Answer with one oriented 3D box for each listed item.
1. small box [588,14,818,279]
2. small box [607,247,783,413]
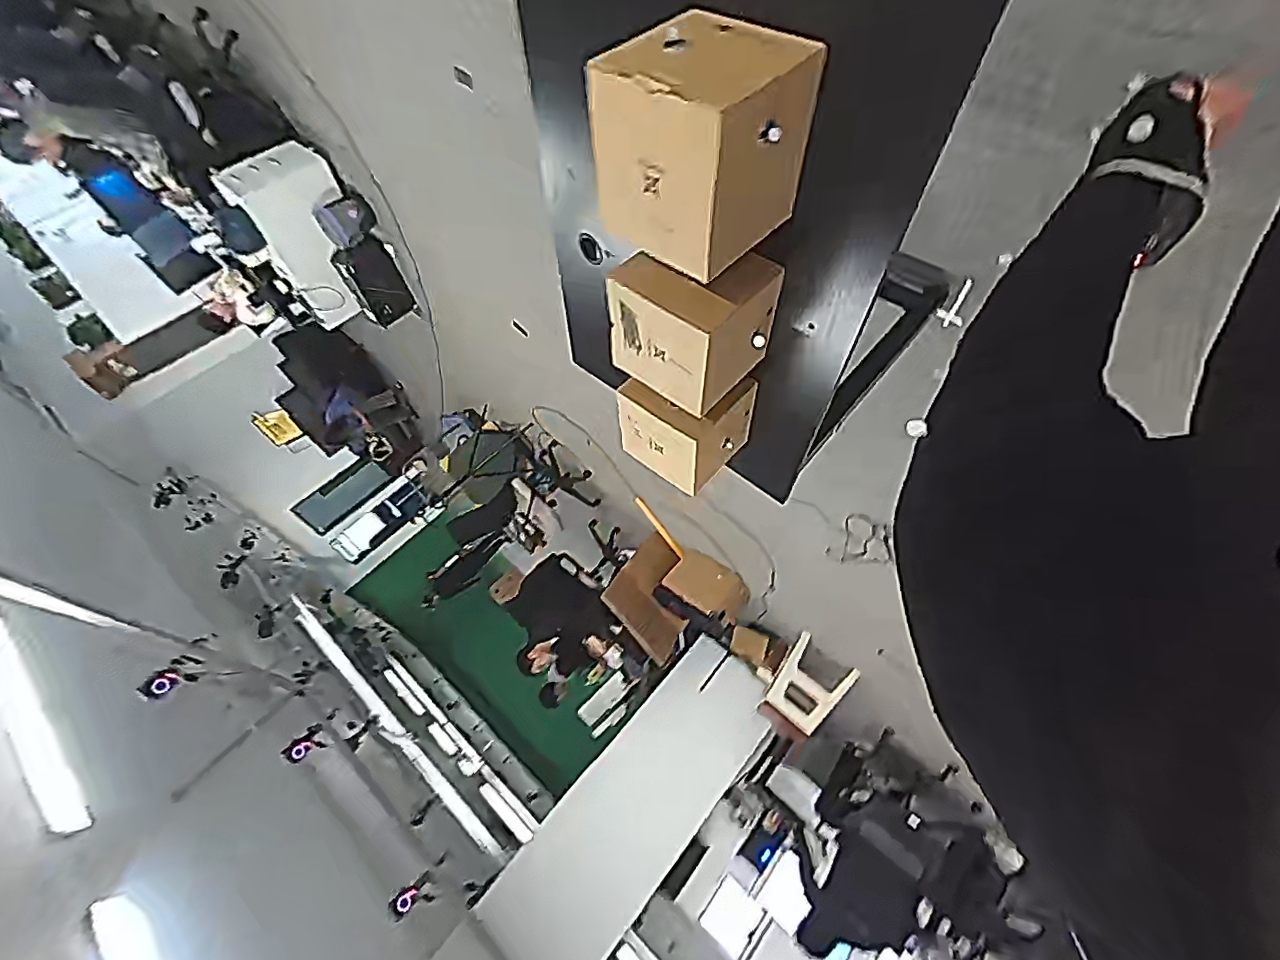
[{"bbox_3d":[0.068,-0.364,0.588,0.168,0.176,0.179,38,157,23],"label":"small box"},{"bbox_3d":[0.075,-0.238,0.781,0.179,0.176,0.168,36,156,21],"label":"small box"}]
